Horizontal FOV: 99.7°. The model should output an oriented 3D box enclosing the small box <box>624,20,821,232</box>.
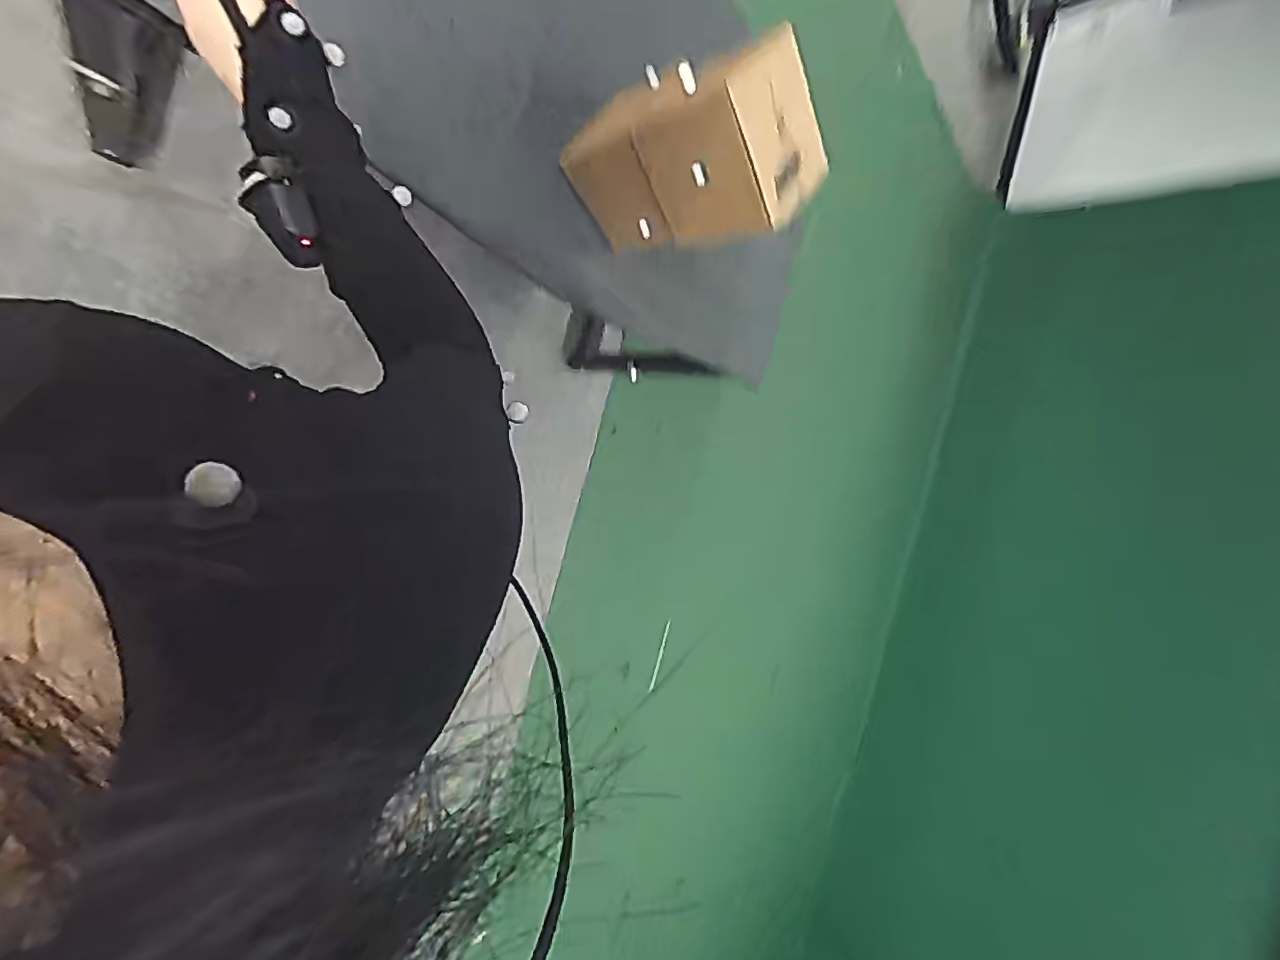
[{"bbox_3d":[0.113,-0.459,0.732,0.168,0.176,0.179,-52,129,-23],"label":"small box"}]
